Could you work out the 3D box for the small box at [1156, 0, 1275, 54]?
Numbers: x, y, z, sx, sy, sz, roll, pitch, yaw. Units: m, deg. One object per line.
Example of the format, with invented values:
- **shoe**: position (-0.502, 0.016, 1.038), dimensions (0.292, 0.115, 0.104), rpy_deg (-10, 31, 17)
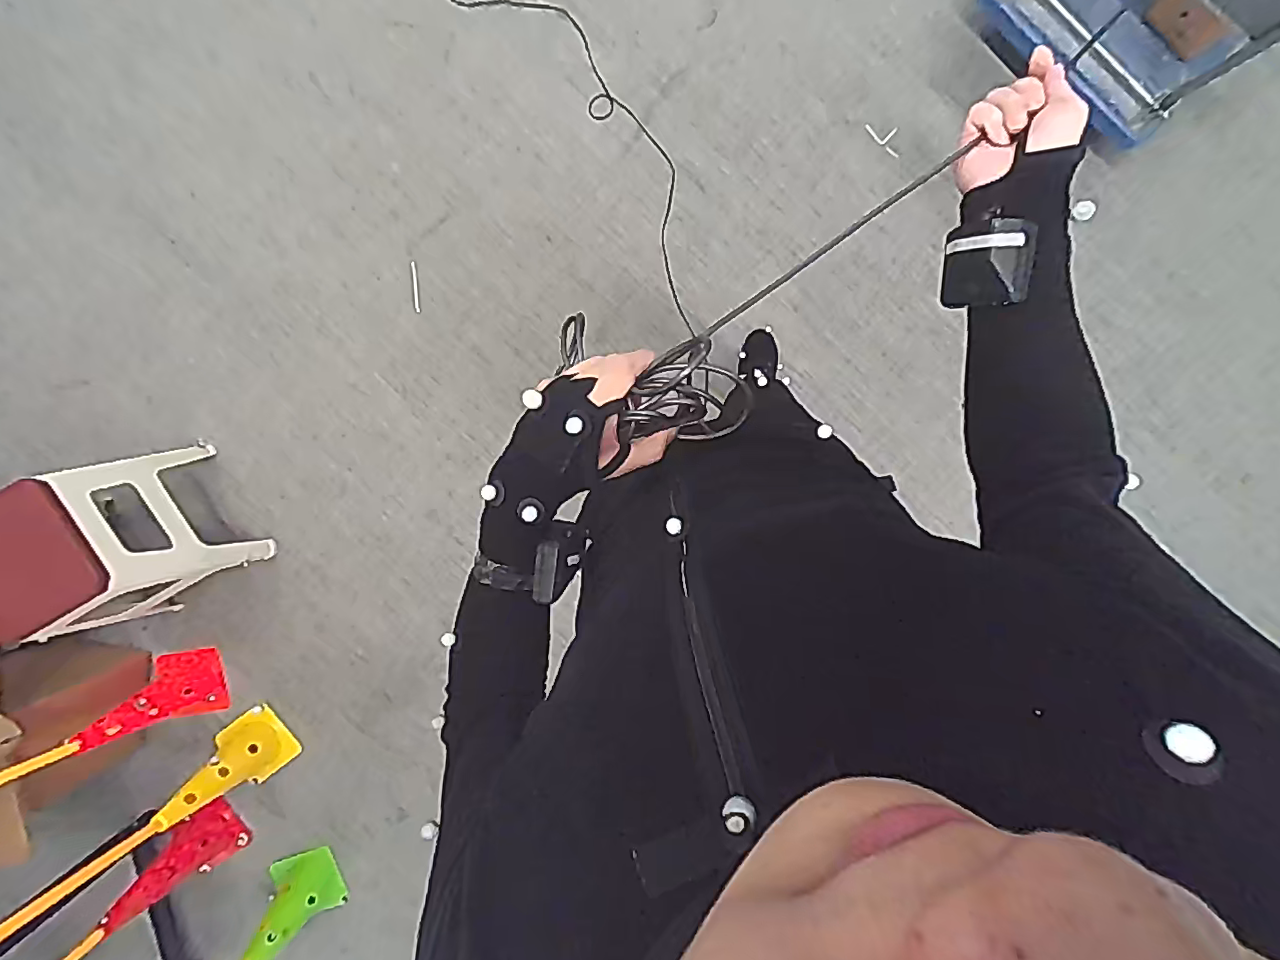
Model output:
- **small box**: position (1.383, -1.166, 1.258), dimensions (0.168, 0.176, 0.179), rpy_deg (43, 94, -3)
